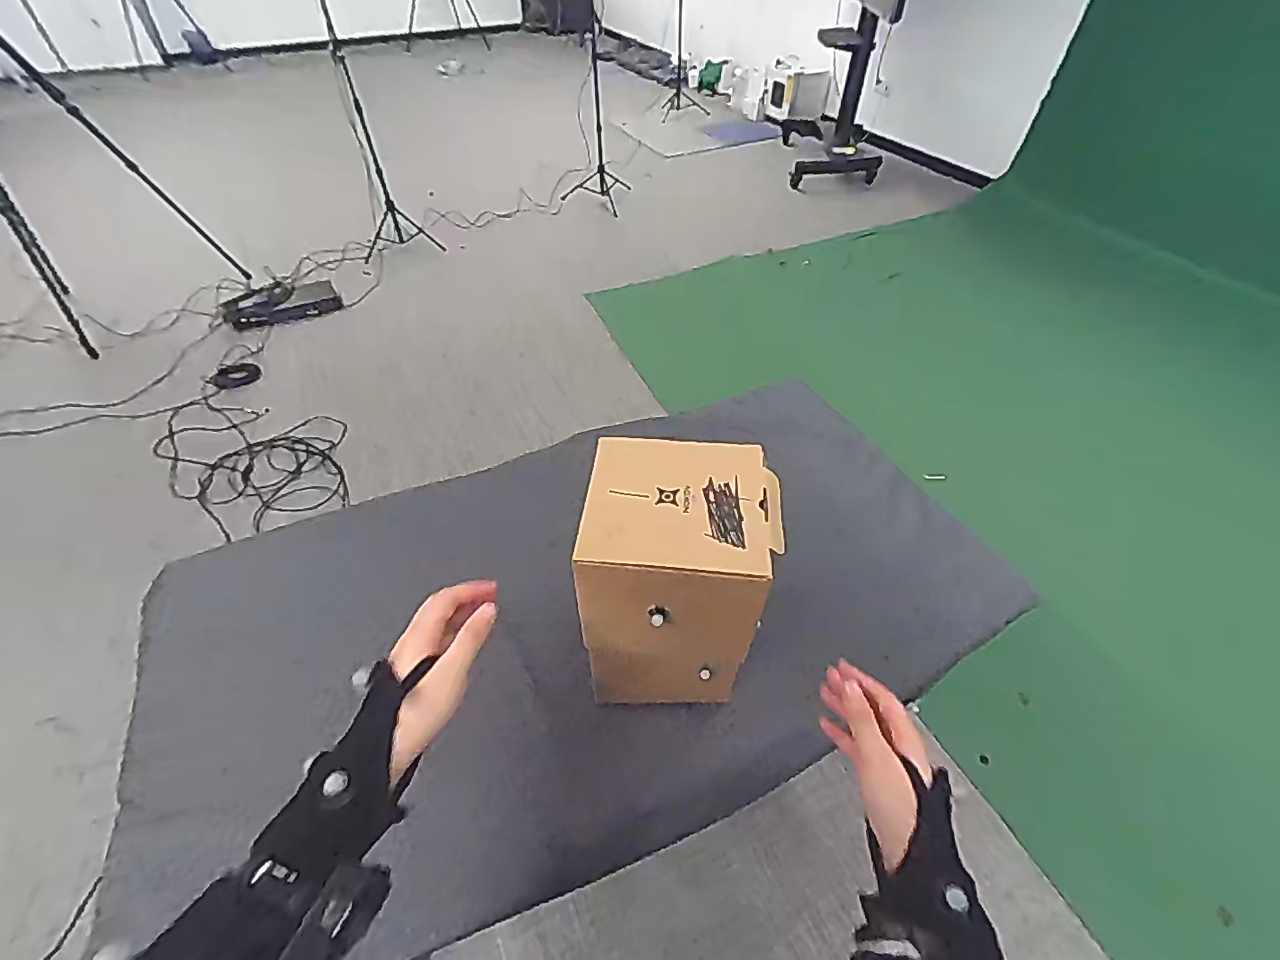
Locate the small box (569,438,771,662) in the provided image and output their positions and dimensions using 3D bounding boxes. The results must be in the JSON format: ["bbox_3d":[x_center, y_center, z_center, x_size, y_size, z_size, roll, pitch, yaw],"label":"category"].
[{"bbox_3d":[0.033,0.077,0.574,0.179,0.176,0.168,4,47,5],"label":"small box"}]
